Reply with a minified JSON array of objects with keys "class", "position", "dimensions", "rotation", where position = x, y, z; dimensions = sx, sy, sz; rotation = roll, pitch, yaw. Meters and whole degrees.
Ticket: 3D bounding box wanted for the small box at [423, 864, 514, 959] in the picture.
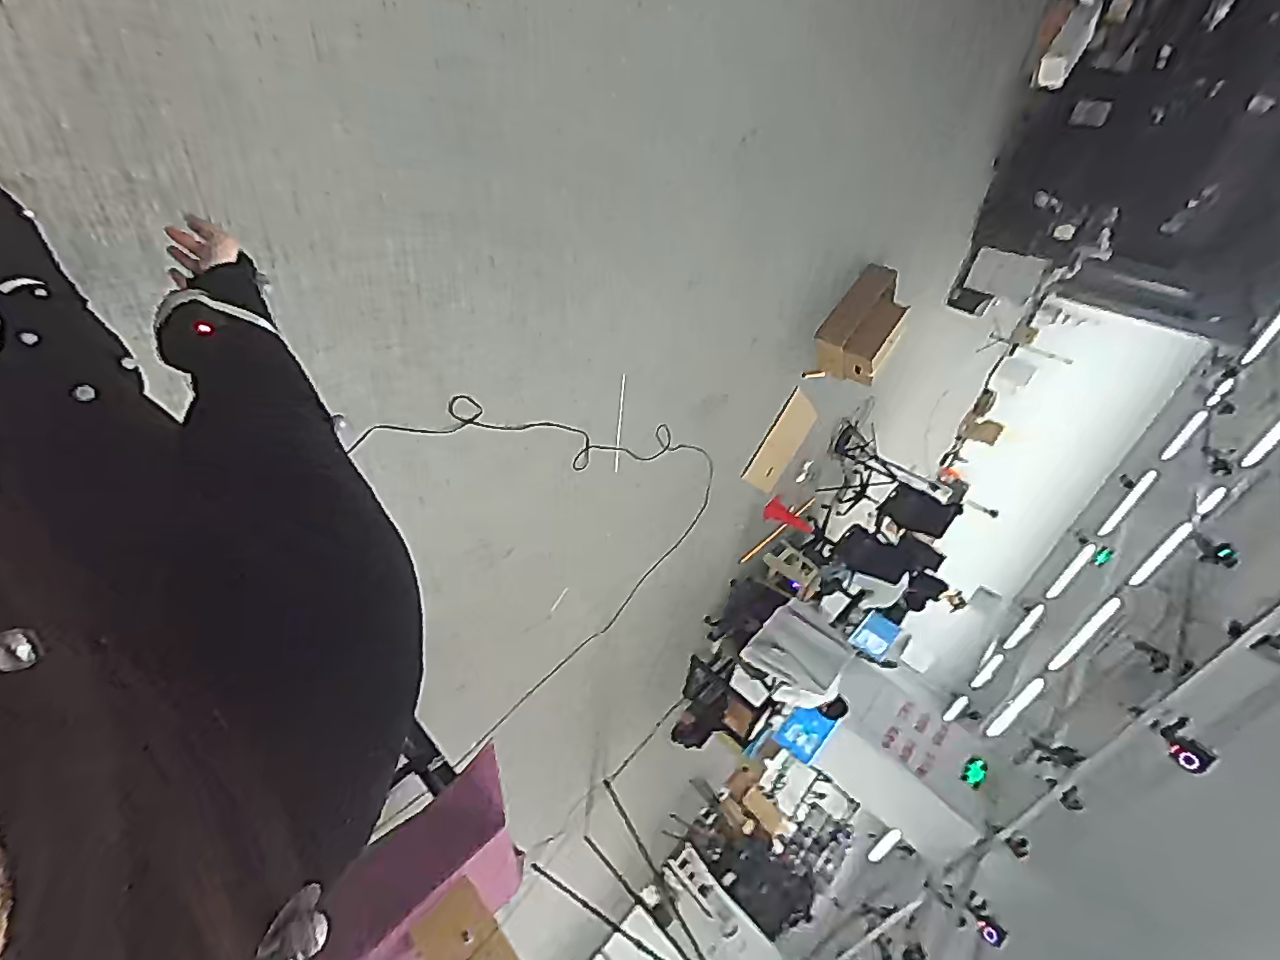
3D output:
[{"class":"small box","position":[-0.470,1.217,1.492],"dimensions":[0.179,0.176,0.168],"rotation":[-28,139,-38]}]
